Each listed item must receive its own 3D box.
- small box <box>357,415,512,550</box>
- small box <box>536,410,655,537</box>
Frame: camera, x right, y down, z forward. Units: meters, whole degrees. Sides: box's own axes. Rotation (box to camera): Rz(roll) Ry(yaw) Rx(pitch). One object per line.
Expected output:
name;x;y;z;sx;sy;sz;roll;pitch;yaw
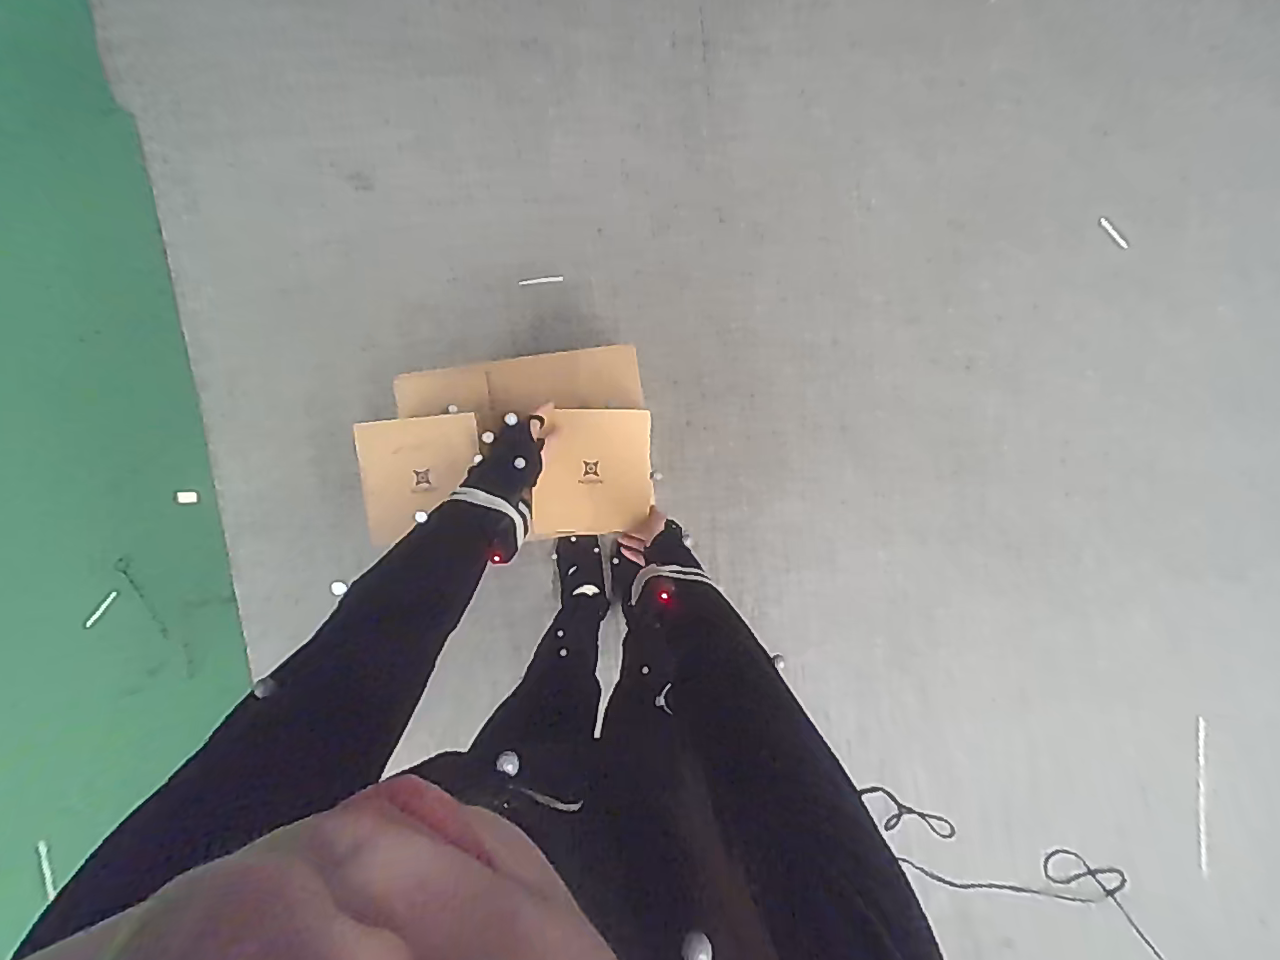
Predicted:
small box;-0.297;-0.005;0.821;0.168;0.176;0.179;-6;97;-3
small box;-0.064;-0.015;0.824;0.168;0.176;0.179;0;96;0
